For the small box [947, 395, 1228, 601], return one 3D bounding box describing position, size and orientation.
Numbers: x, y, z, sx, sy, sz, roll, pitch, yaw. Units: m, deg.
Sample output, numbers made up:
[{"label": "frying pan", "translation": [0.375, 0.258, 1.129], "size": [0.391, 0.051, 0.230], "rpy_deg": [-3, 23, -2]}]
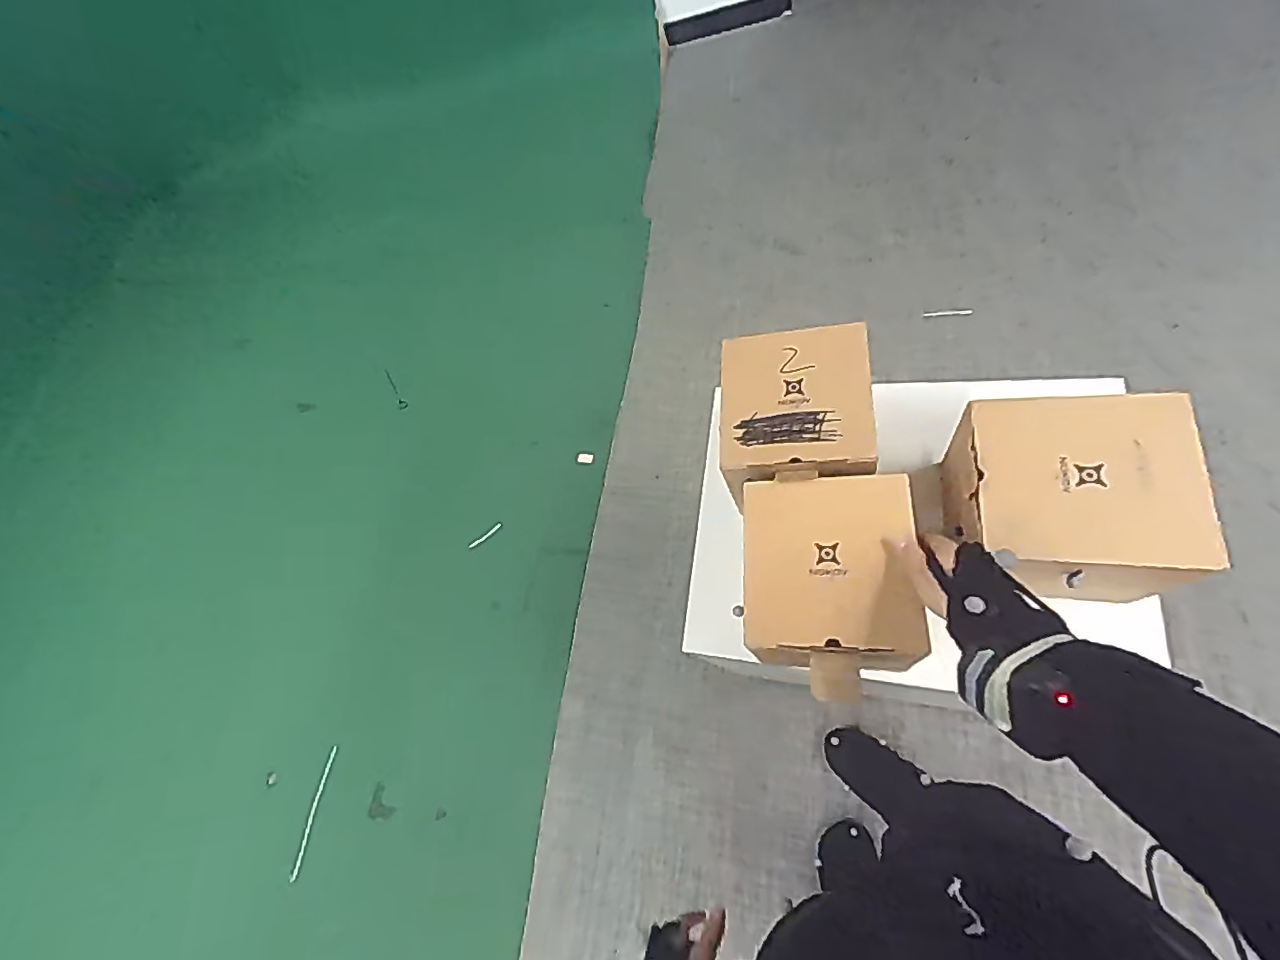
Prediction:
[{"label": "small box", "translation": [0.429, 0.027, 0.561], "size": [0.179, 0.176, 0.168], "rpy_deg": [1, 70, 20]}]
